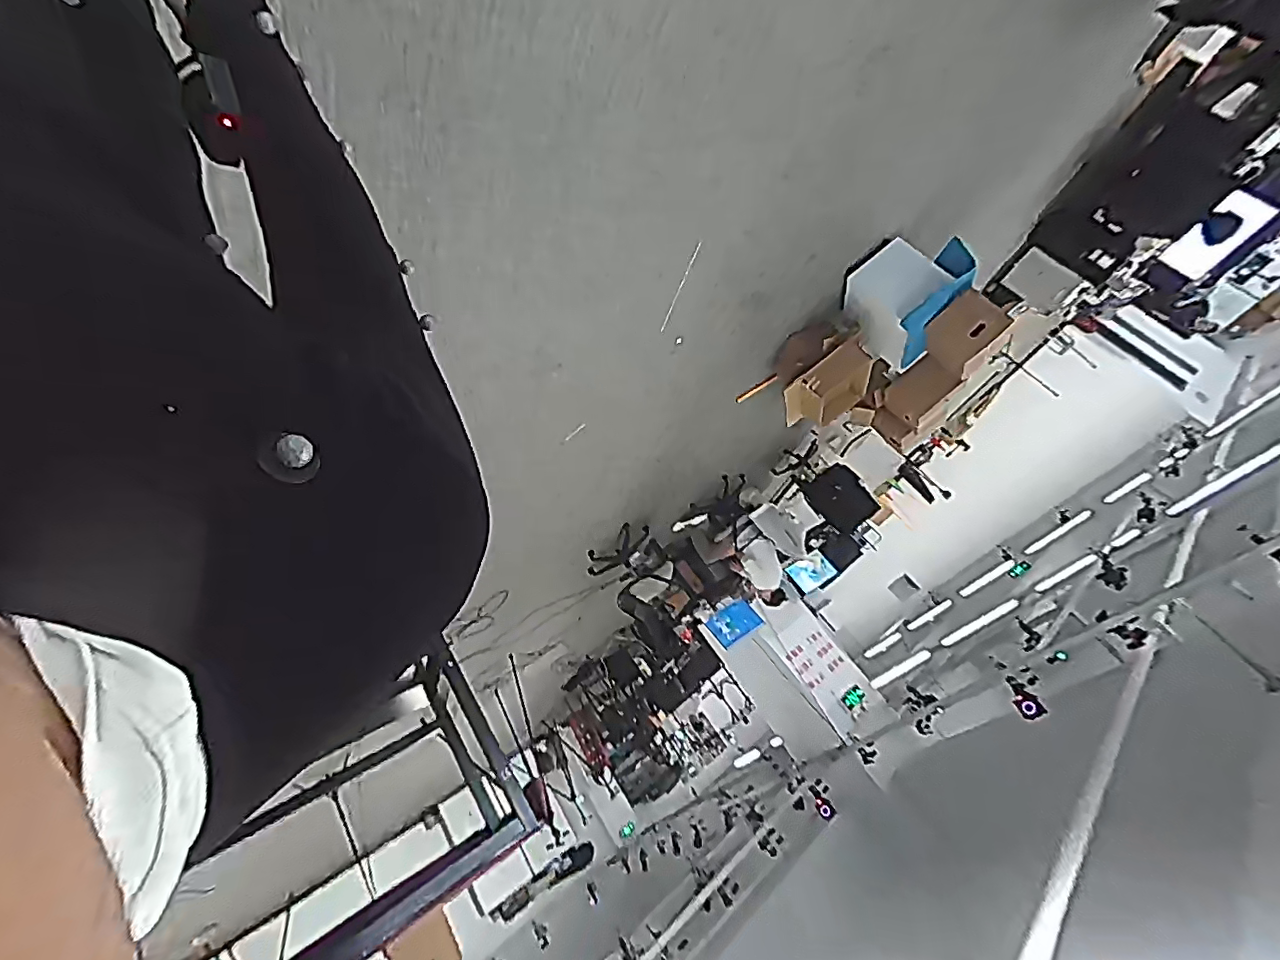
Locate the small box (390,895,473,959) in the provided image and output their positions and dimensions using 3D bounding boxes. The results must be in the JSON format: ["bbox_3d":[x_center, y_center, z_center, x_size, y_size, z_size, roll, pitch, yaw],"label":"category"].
[{"bbox_3d":[-0.646,1.426,1.667,0.179,0.176,0.168,-17,151,-39],"label":"small box"}]
